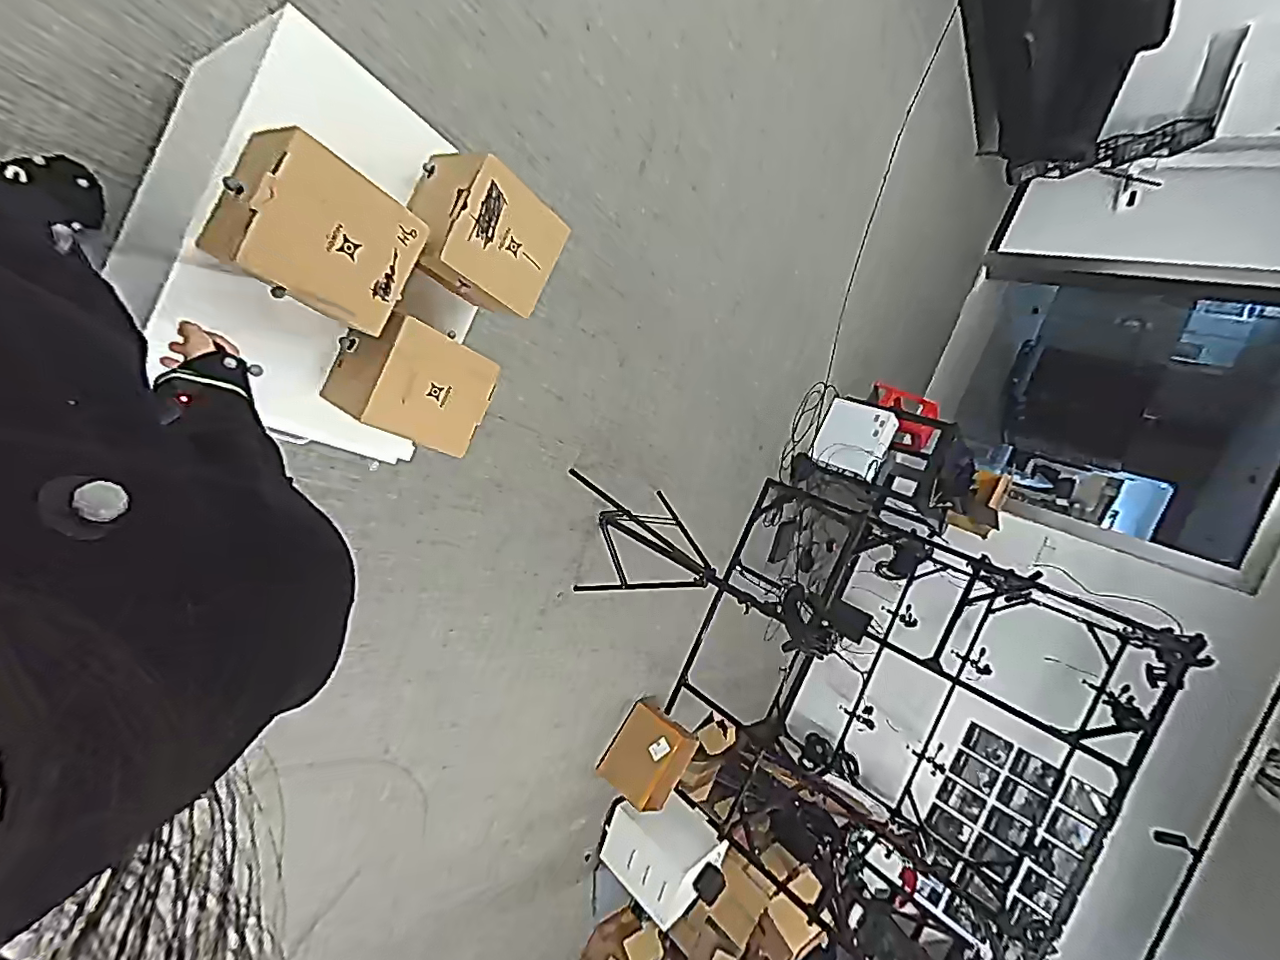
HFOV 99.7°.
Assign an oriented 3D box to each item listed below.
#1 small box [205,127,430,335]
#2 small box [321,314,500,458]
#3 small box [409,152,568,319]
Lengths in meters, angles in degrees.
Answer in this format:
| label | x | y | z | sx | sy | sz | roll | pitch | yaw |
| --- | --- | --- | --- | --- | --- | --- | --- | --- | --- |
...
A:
| label | x | y | z | sx | sy | sz | roll | pitch | yaw |
| --- | --- | --- | --- | --- | --- | --- | --- | --- | --- |
| small box | -0.419 | -0.313 | 0.701 | 0.179 | 0.176 | 0.168 | 27 | 88 | -53 |
| small box | -0.363 | -0.155 | 0.858 | 0.179 | 0.176 | 0.168 | 23 | 90 | -51 |
| small box | -0.255 | -0.381 | 0.856 | 0.179 | 0.176 | 0.168 | 26 | 90 | -53 |
